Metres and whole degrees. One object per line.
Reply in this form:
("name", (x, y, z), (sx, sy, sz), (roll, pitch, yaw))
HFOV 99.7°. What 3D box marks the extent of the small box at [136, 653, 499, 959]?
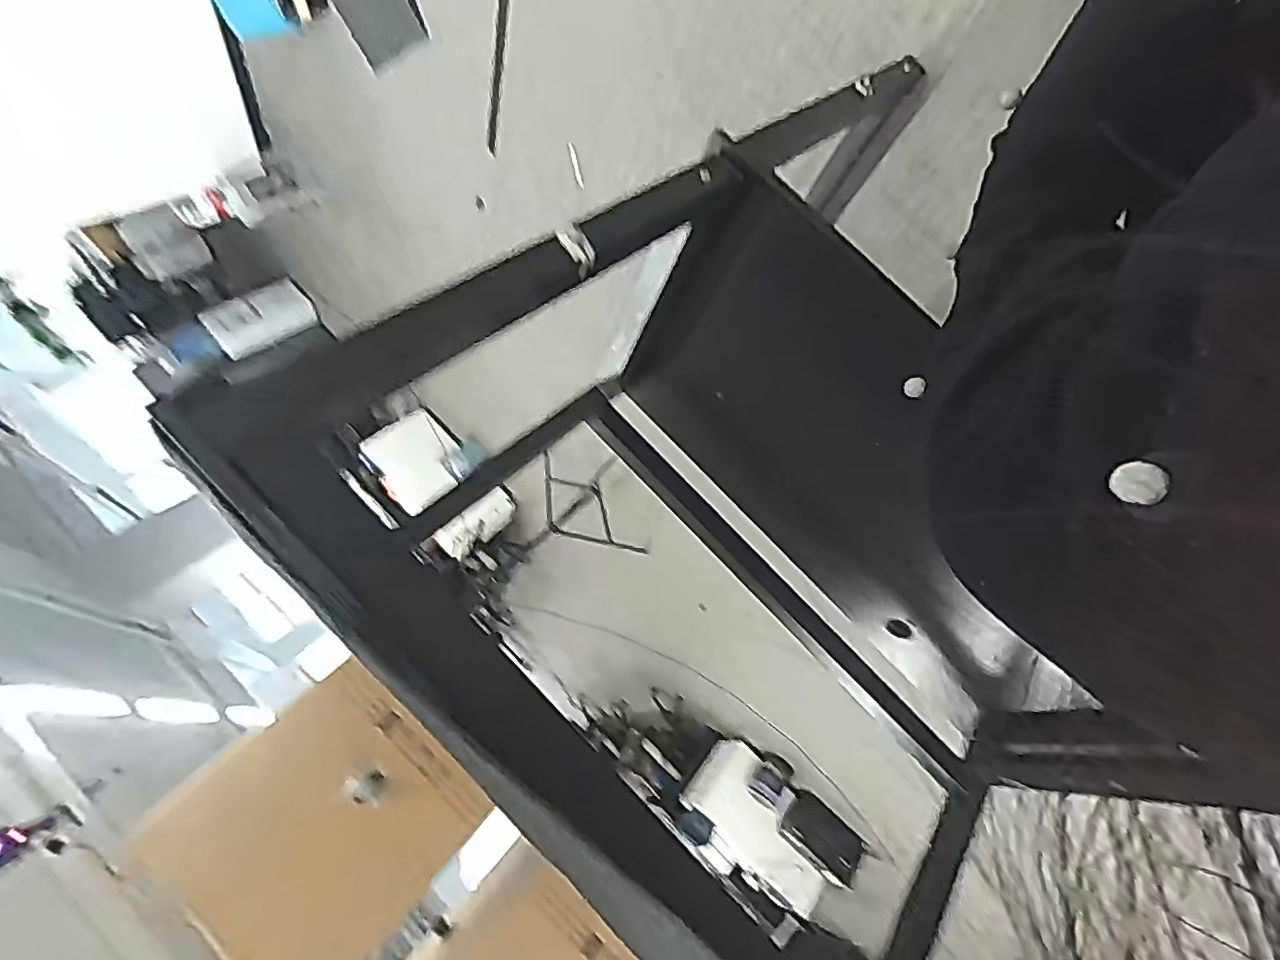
("small box", (-0.237, 0.267, 0.450), (0.168, 0.176, 0.179), (45, 151, 3))
